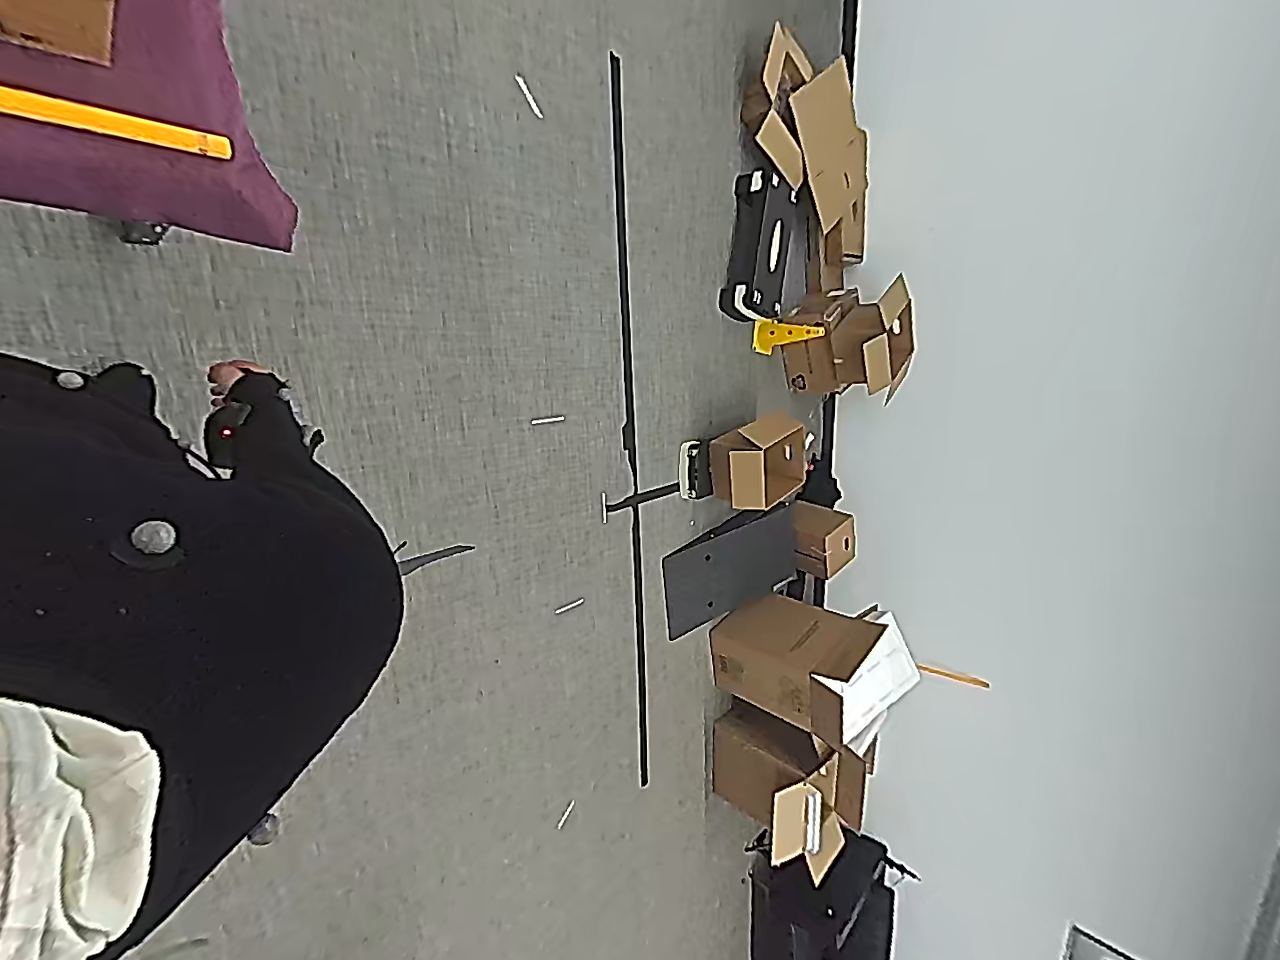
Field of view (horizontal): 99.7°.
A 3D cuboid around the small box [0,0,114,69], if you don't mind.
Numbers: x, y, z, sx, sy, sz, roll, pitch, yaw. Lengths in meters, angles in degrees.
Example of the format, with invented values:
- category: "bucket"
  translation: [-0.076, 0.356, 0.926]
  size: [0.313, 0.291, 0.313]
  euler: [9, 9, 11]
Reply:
- category: "small box"
  translation: [-0.617, -0.528, 0.492]
  size: [0.168, 0.176, 0.179]
  euler: [-16, 108, -43]
